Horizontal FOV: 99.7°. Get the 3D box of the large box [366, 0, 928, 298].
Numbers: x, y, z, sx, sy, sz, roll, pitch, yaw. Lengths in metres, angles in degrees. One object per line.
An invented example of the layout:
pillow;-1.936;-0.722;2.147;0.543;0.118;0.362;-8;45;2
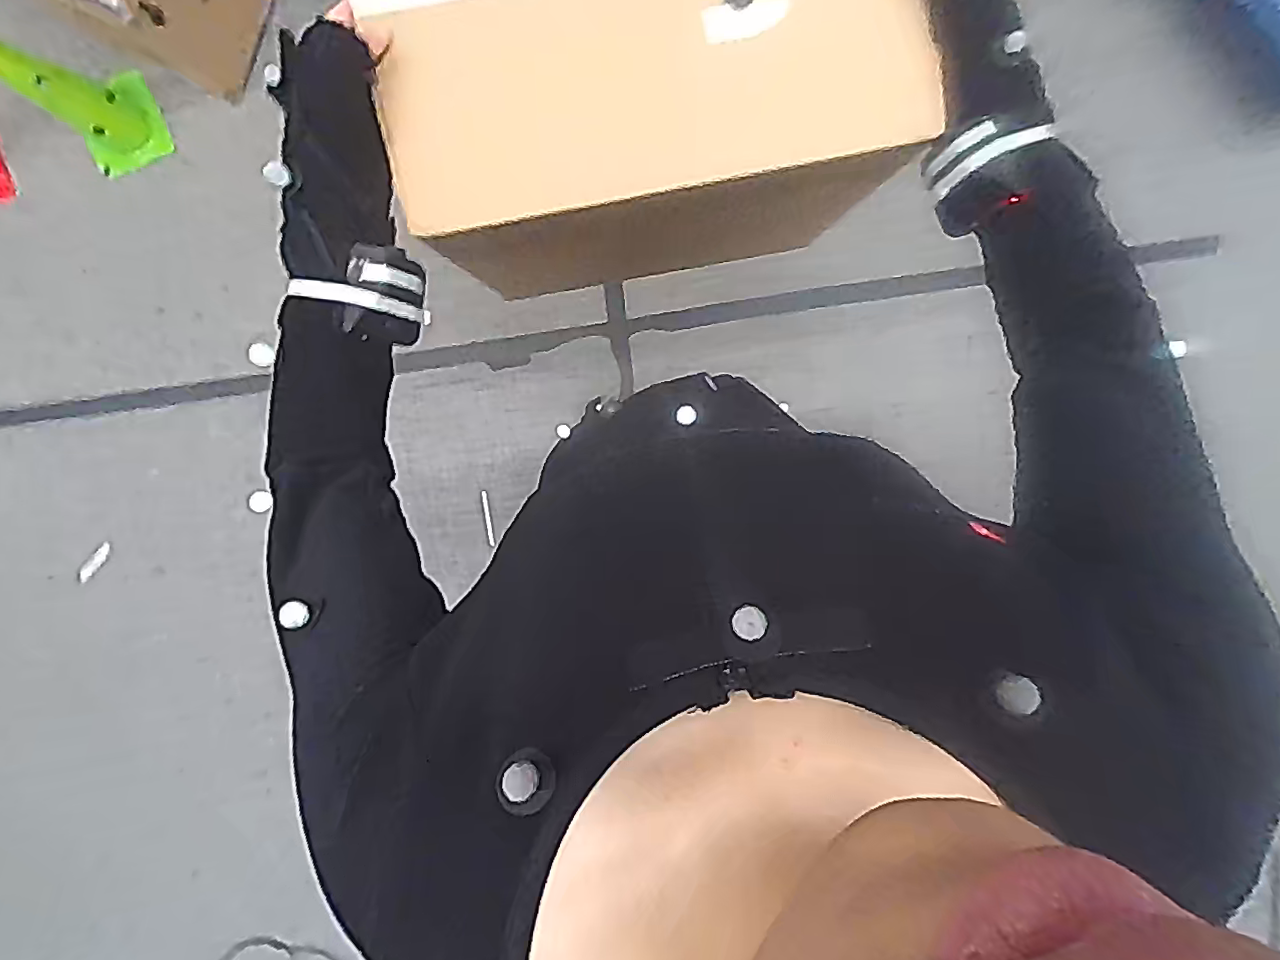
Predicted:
large box;-0.008;-0.398;0.535;0.408;0.320;0.320;-11;100;0
